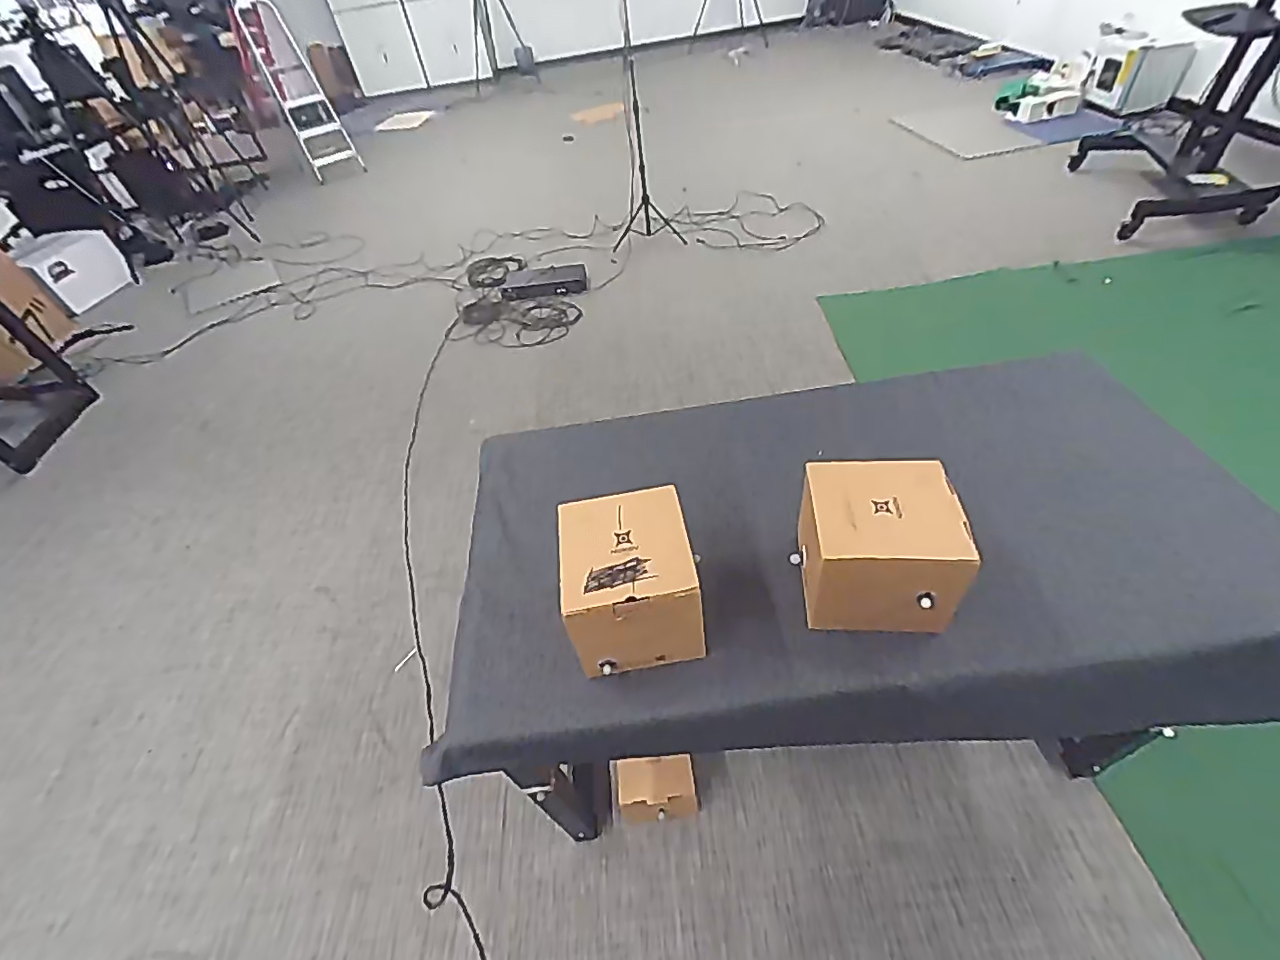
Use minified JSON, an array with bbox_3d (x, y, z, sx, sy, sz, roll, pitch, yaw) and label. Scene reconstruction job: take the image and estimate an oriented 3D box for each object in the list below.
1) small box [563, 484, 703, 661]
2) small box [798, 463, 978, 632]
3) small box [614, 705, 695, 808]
[{"bbox_3d":[-0.008,0.133,0.748,0.168,0.176,0.179,-9,45,0],"label":"small box"},{"bbox_3d":[0.320,0.094,0.740,0.179,0.176,0.168,-1,46,9],"label":"small box"},{"bbox_3d":[0.035,0.651,1.265,0.168,0.176,0.179,-8,47,1],"label":"small box"}]
